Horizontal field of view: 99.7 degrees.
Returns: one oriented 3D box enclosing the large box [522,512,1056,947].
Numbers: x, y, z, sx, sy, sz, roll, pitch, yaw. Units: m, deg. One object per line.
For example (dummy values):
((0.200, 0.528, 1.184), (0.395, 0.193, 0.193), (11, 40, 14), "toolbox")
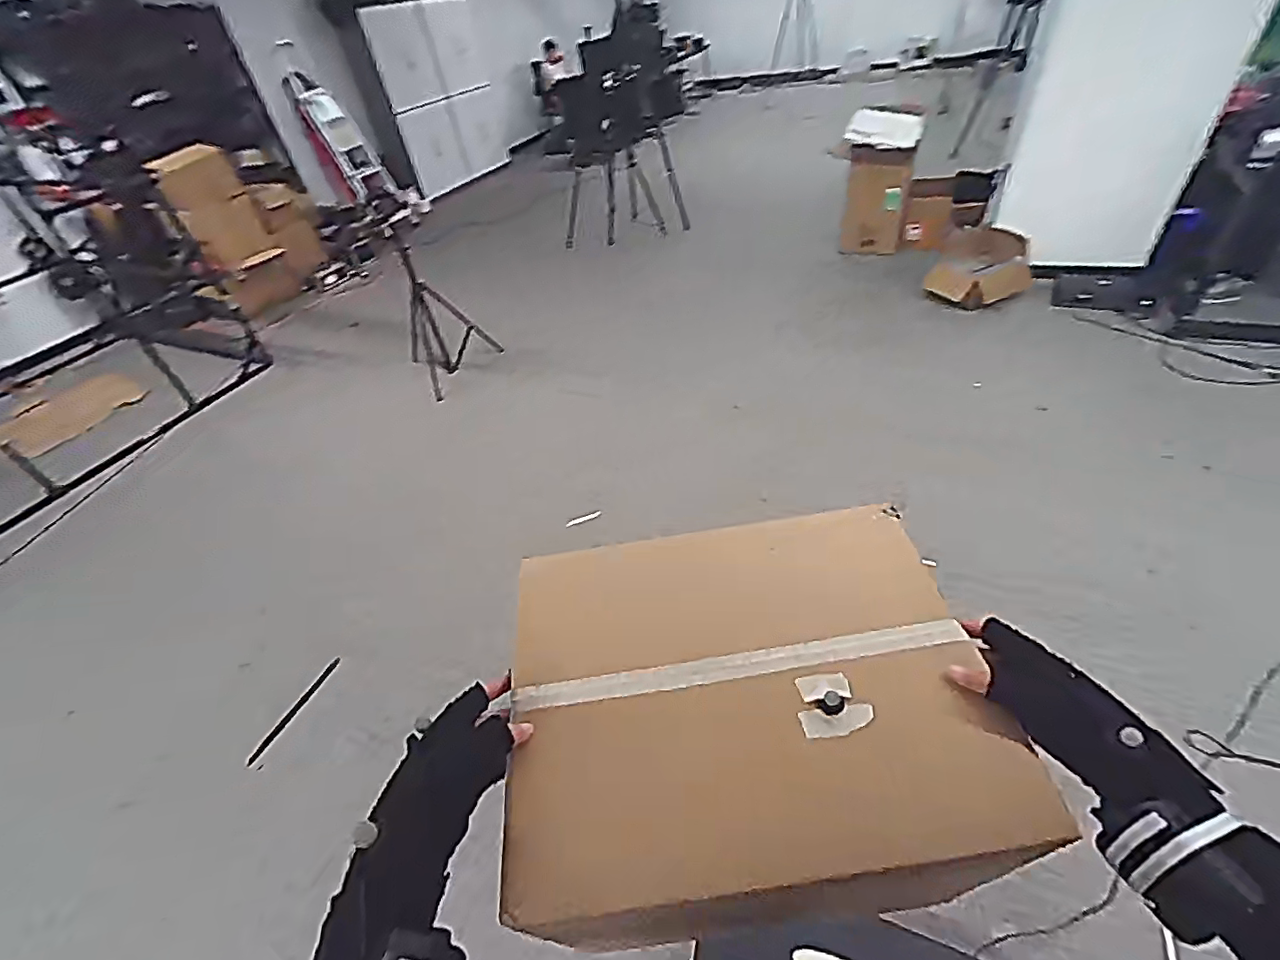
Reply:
((0.108, 0.276, 0.599), (0.408, 0.320, 0.320), (-9, 46, 1), "large box")
